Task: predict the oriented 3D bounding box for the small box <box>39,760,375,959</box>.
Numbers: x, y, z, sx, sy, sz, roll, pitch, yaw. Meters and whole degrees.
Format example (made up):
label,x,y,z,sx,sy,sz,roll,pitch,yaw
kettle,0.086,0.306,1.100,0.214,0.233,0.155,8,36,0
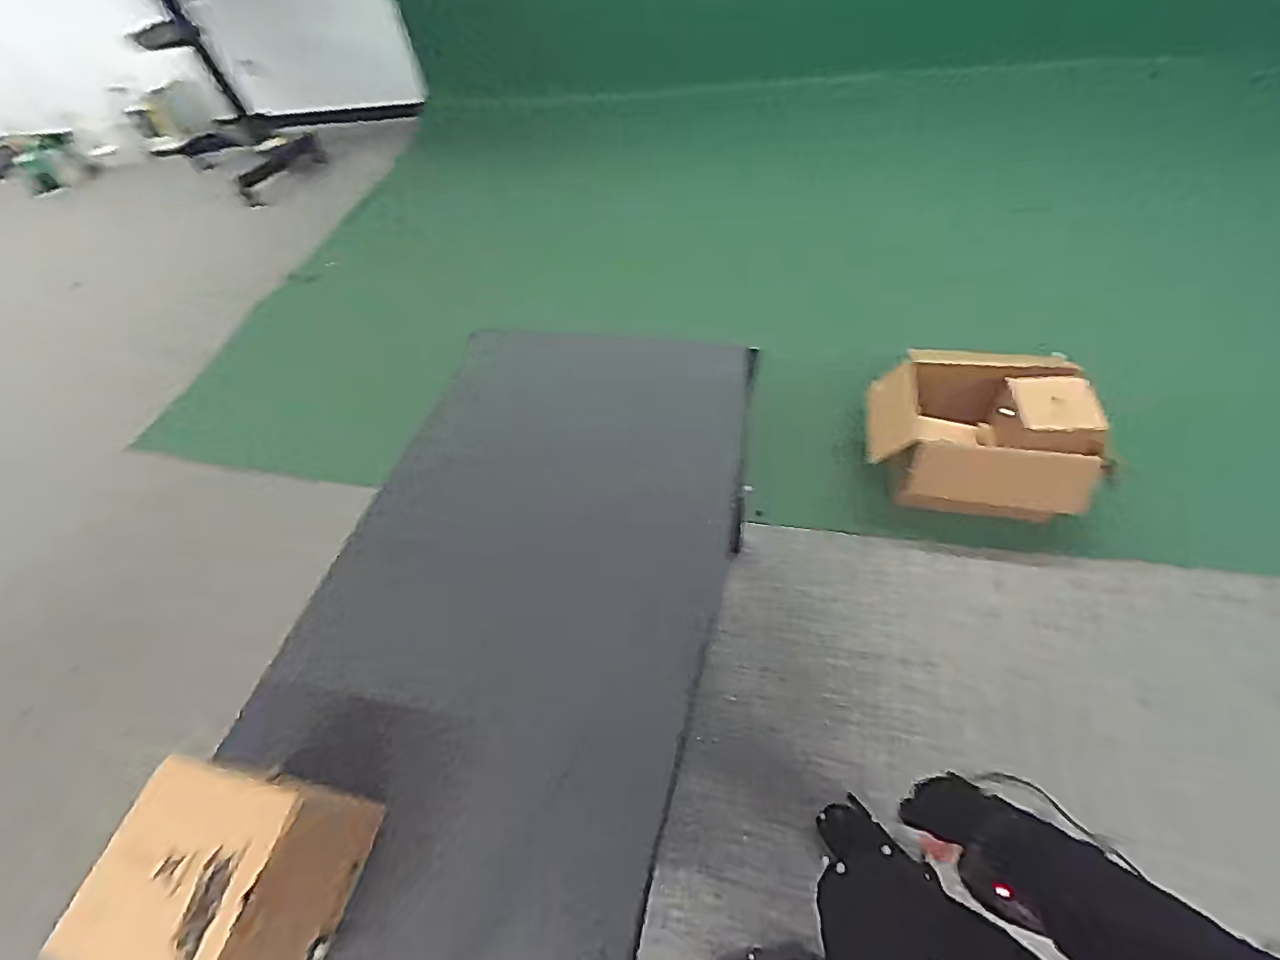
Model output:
label,x,y,z,sx,sy,sz,roll,pitch,yaw
small box,-0.421,0.412,0.566,0.179,0.176,0.168,7,57,14
